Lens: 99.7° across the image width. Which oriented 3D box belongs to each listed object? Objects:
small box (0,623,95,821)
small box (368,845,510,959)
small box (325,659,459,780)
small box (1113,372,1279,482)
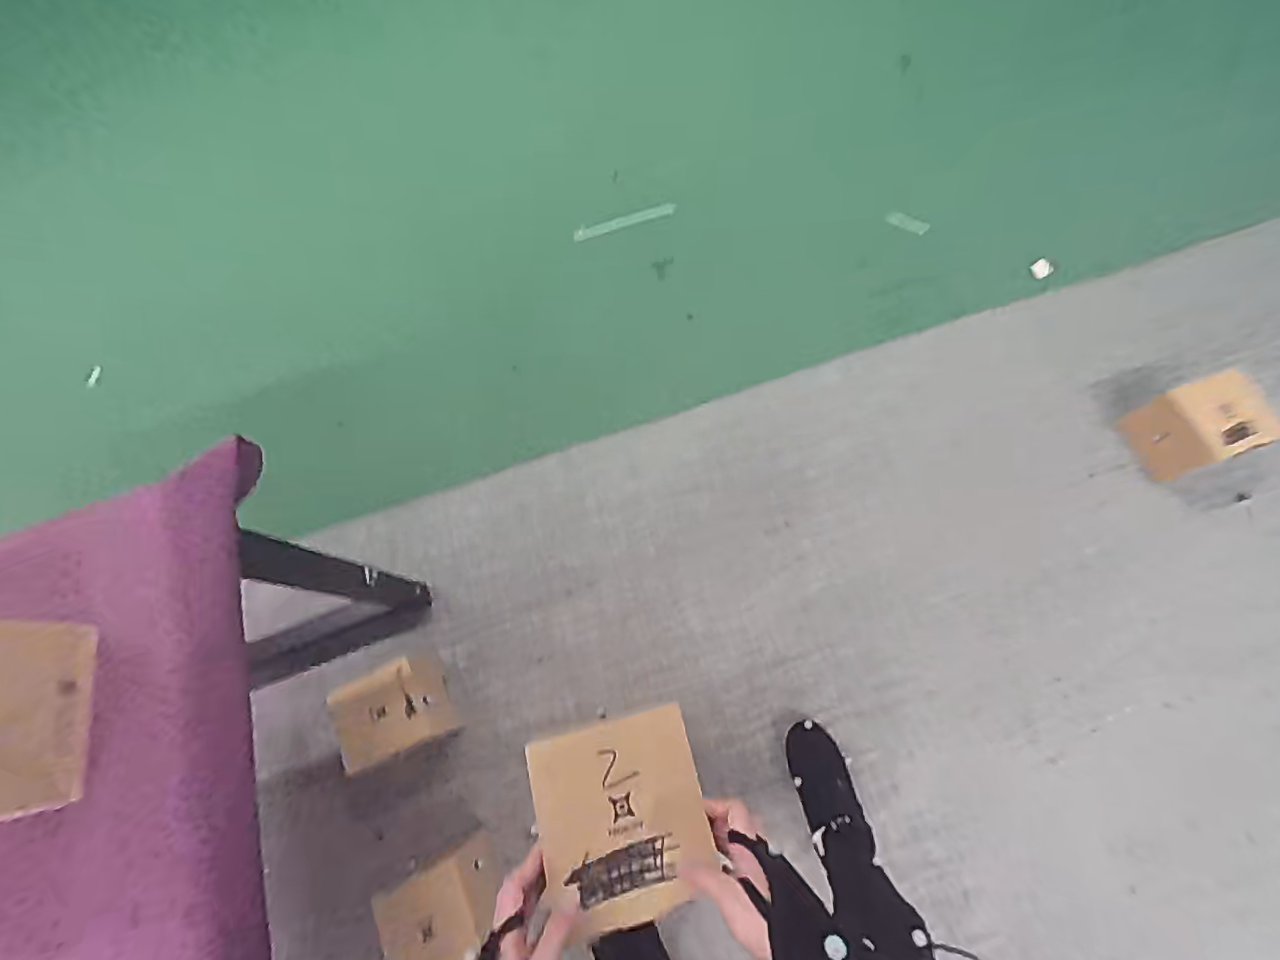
[{"bbox_3d":[-0.631,0.220,0.460,0.179,0.176,0.168,-14,71,0],"label":"small box"},{"bbox_3d":[-0.364,0.814,1.002,0.168,0.176,0.179,-26,71,-4],"label":"small box"},{"bbox_3d":[-0.508,0.491,1.126,0.179,0.176,0.168,-26,70,-5],"label":"small box"},{"bbox_3d":[1.248,-0.110,1.222,0.168,0.176,0.179,-18,69,-3],"label":"small box"}]
